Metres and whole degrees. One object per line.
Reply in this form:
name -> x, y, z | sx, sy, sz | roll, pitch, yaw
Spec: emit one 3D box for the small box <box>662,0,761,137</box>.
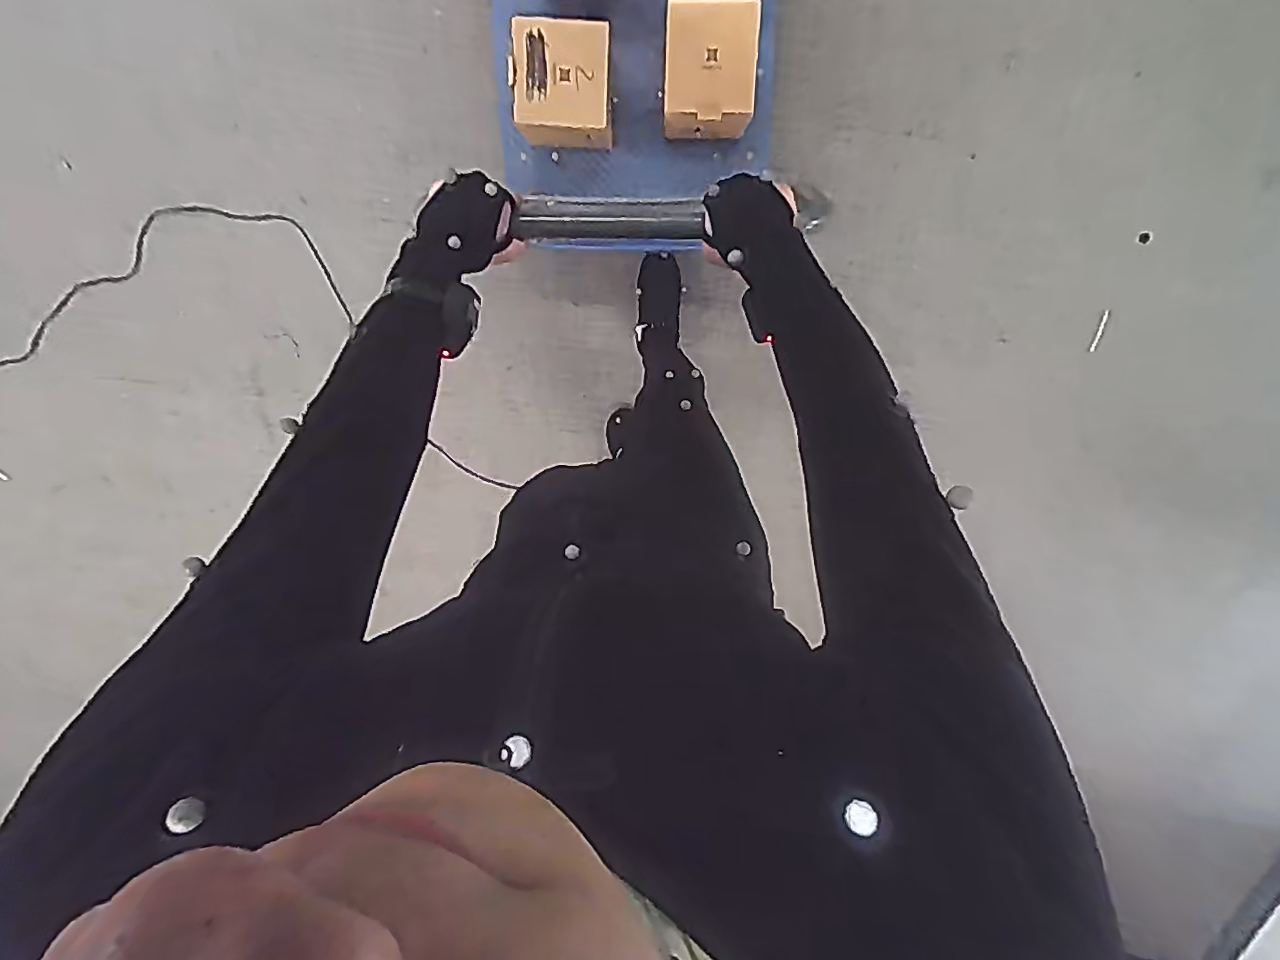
small box -> 0.129, -0.788, 1.046 | 0.168, 0.176, 0.179 | 1, 111, 1
